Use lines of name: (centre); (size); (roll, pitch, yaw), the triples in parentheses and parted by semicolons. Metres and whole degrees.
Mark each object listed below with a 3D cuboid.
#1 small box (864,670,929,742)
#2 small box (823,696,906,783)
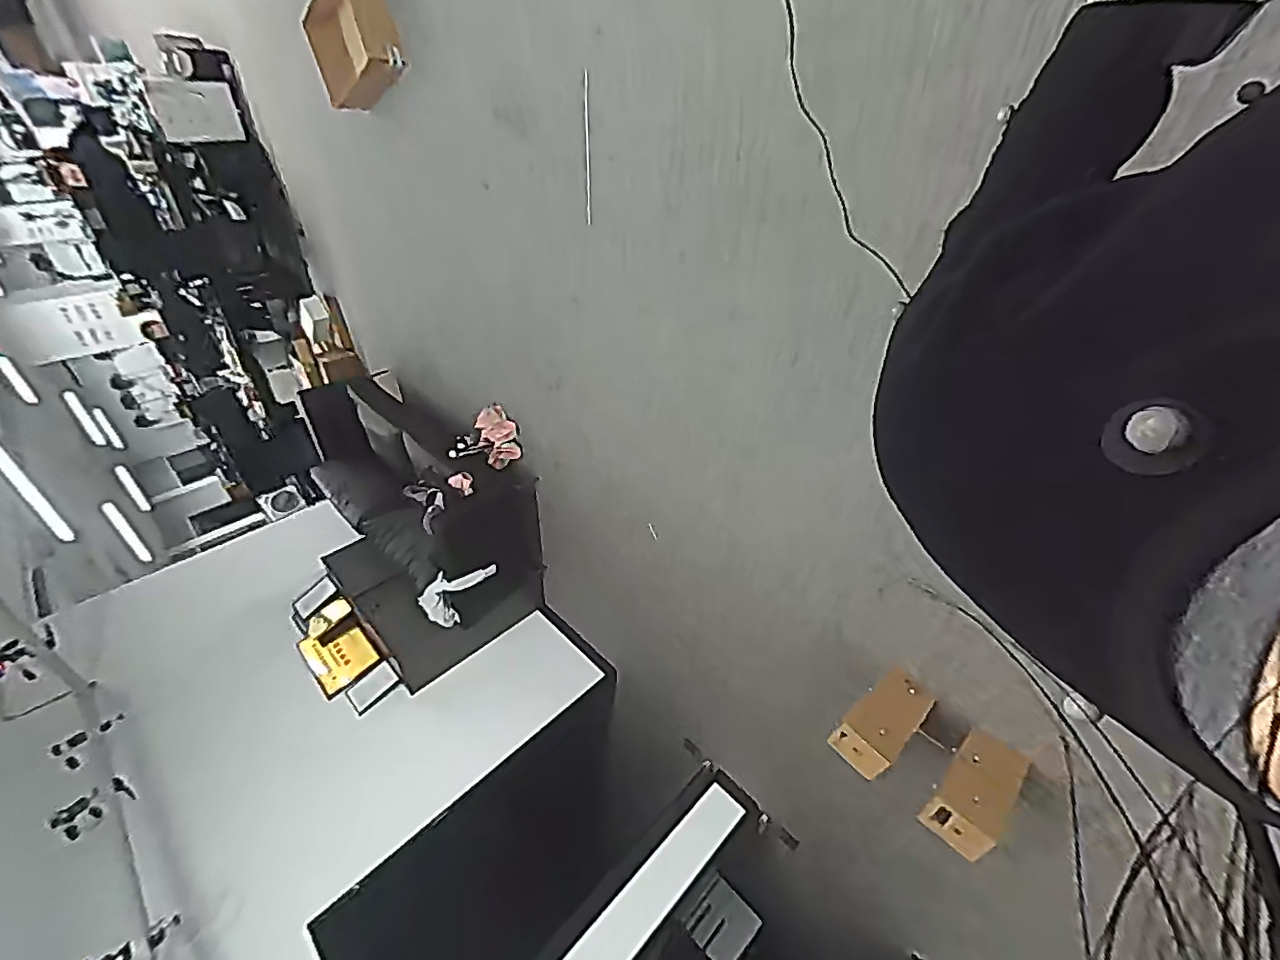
small box: (0.890, 0.820, 1.926); (0.168, 0.176, 0.179); (40, 139, 25)
small box: (0.764, 0.875, 1.835); (0.179, 0.176, 0.168); (39, 139, 25)
